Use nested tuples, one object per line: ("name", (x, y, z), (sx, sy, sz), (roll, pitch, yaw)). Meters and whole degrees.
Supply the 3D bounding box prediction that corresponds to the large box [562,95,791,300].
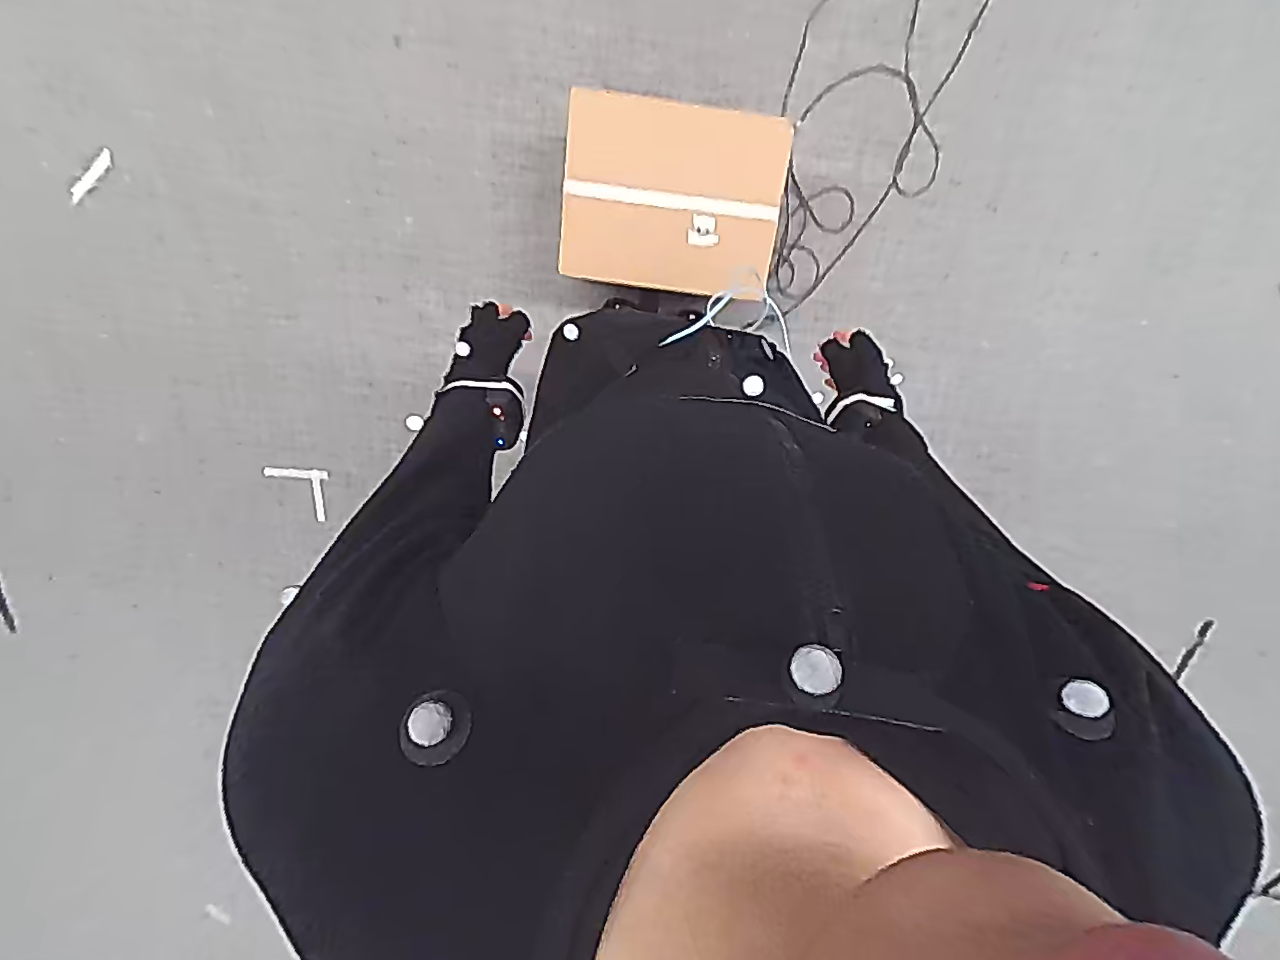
("large box", (0.058, -0.571, 1.157), (0.408, 0.320, 0.320), (7, 110, -3))
